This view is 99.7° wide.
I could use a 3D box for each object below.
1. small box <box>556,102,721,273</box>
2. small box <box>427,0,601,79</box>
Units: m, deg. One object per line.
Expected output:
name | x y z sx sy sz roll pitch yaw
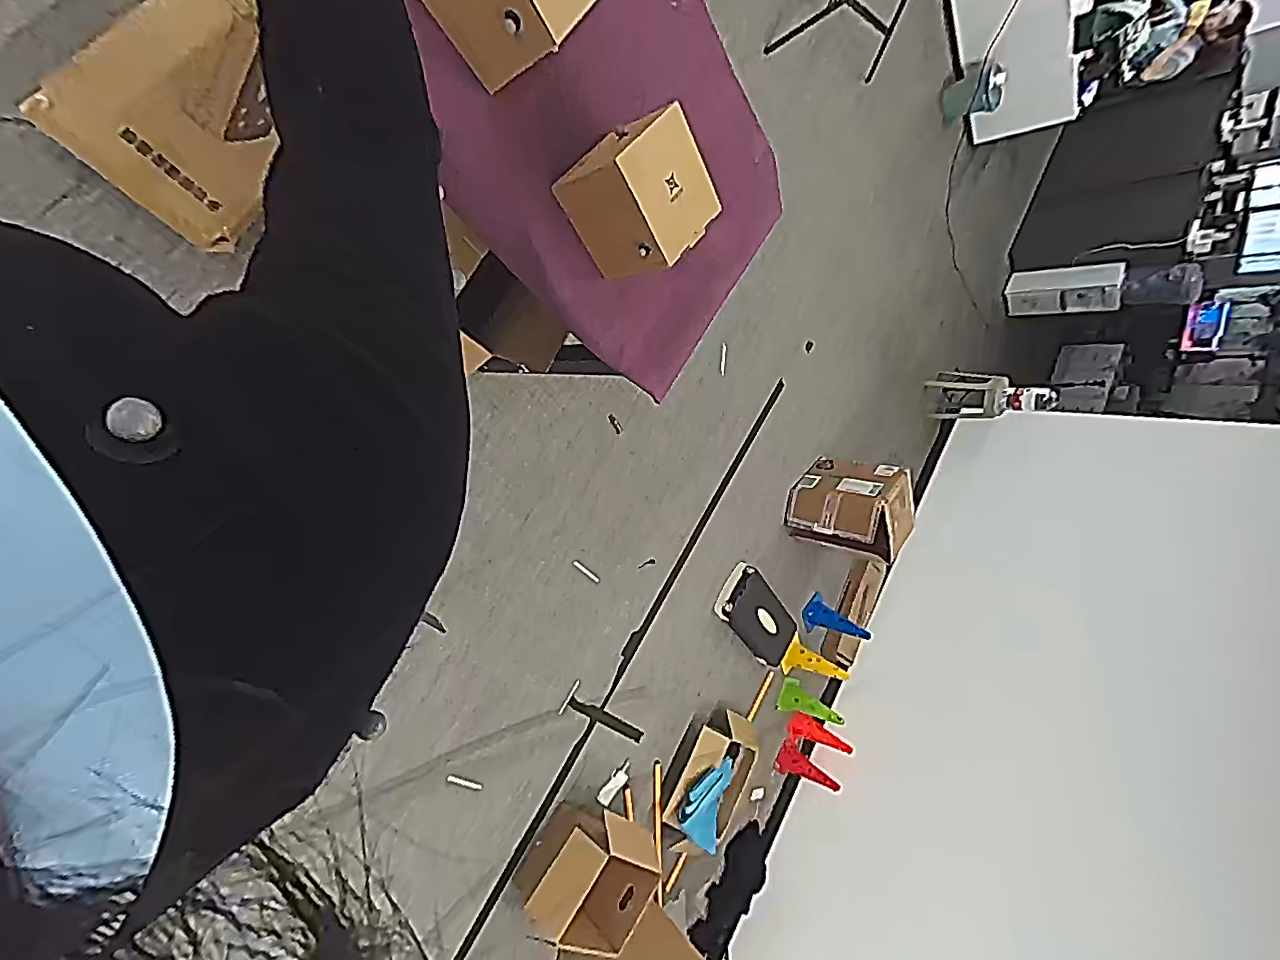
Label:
small box | -0.003 -0.461 0.881 0.168 0.176 0.179 -54 131 -21
small box | -0.164 -0.652 0.682 0.179 0.176 0.168 45 67 -40
